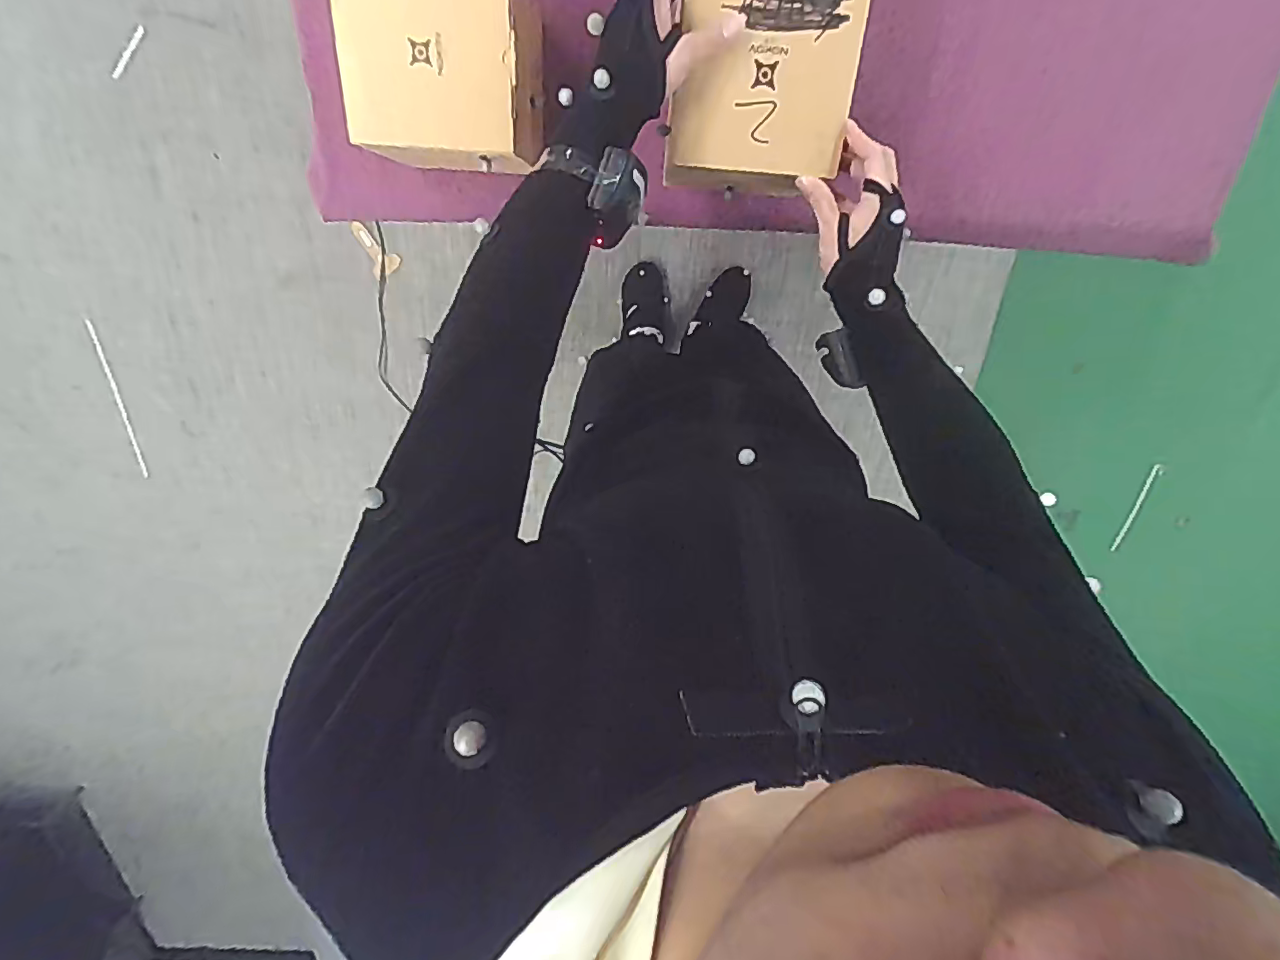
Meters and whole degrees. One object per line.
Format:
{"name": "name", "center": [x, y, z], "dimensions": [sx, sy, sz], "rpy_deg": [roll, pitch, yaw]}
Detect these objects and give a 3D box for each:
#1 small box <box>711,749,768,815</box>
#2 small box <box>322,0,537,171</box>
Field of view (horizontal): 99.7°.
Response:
{"name": "small box", "center": [0.390, 1.197, 2.149], "dimensions": [0.179, 0.176, 0.168], "rpy_deg": [6, 115, -3]}
{"name": "small box", "center": [-0.216, -0.449, 0.599], "dimensions": [0.179, 0.176, 0.168], "rpy_deg": [3, 113, -2]}
